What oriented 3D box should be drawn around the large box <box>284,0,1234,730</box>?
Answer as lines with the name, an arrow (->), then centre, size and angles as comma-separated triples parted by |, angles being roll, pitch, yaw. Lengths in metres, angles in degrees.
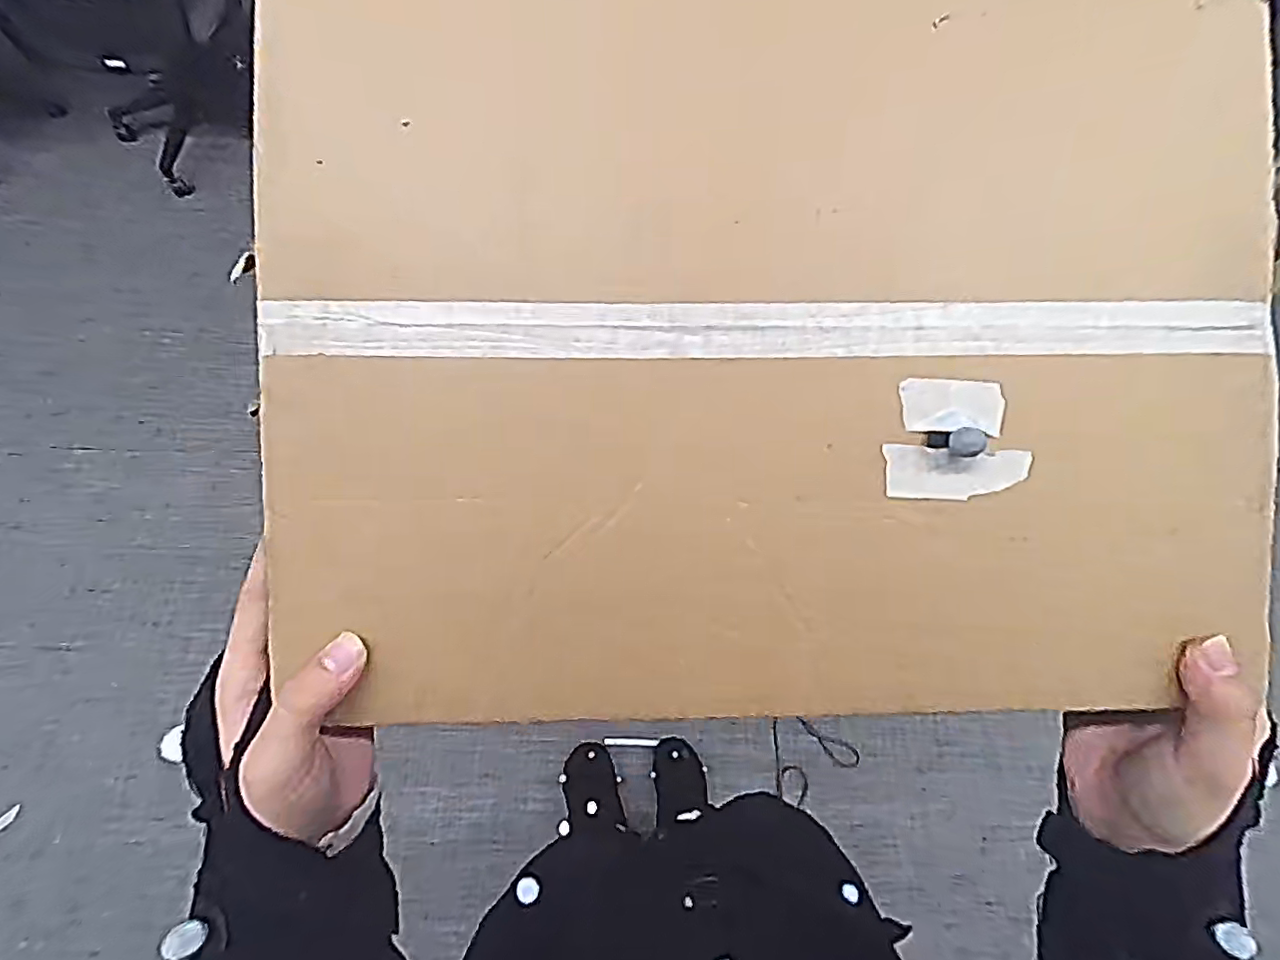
large box -> 0.048, -0.057, 0.376 | 0.408, 0.320, 0.320 | -1, 91, -3
